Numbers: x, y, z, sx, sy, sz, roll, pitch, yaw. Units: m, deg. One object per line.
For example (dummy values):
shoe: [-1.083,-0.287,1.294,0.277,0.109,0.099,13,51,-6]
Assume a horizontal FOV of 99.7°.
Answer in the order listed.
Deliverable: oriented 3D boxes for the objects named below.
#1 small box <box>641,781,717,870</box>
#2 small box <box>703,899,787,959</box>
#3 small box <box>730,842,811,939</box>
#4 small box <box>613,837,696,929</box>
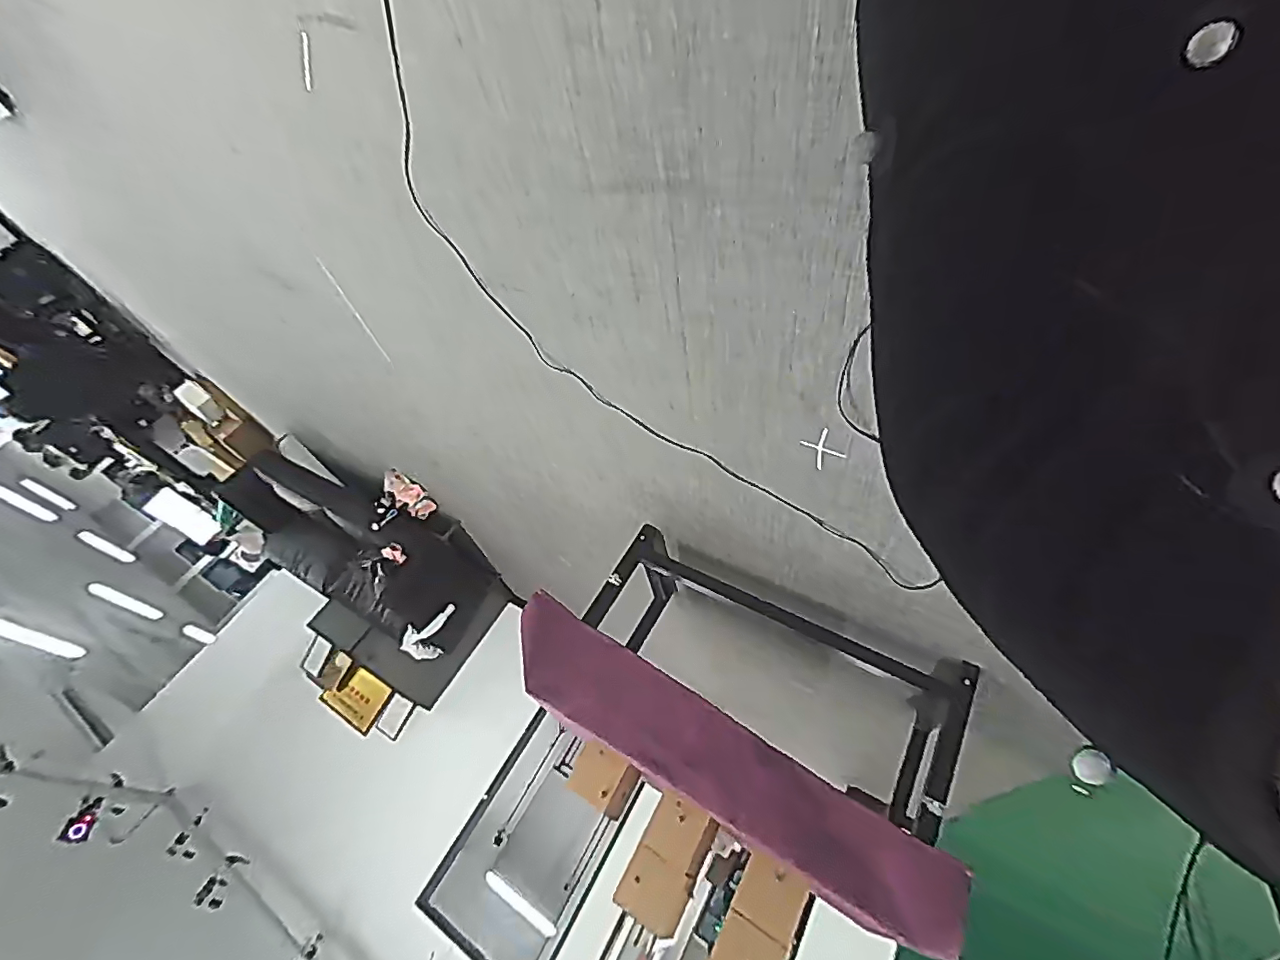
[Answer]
small box: [0.131,1.097,1.721,0.168,0.176,0.179,17,148,31]
small box: [0.296,1.313,1.515,0.179,0.176,0.168,20,150,26]
small box: [0.381,1.192,1.586,0.179,0.176,0.168,21,151,27]
small box: [0.049,1.216,1.645,0.179,0.176,0.168,18,150,29]
